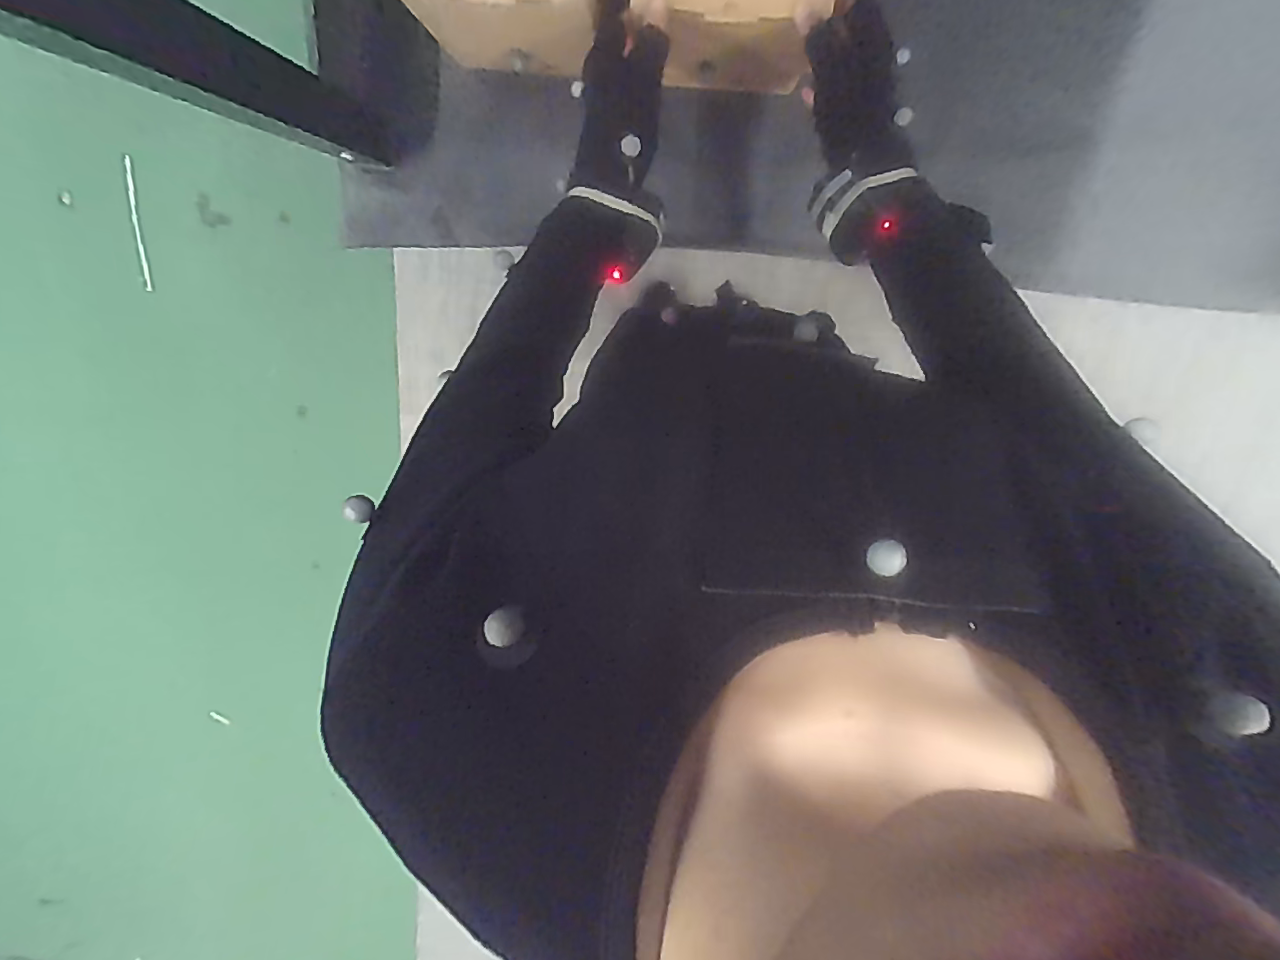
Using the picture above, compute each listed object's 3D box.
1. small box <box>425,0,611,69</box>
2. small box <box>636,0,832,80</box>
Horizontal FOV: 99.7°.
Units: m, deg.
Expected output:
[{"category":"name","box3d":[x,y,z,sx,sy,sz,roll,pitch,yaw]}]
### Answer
[{"category":"small box","box3d":[-0.113,-0.507,0.481,0.168,0.176,0.179,6,110,2]},{"category":"small box","box3d":[0.084,-0.491,0.478,0.168,0.176,0.179,6,111,3]}]
